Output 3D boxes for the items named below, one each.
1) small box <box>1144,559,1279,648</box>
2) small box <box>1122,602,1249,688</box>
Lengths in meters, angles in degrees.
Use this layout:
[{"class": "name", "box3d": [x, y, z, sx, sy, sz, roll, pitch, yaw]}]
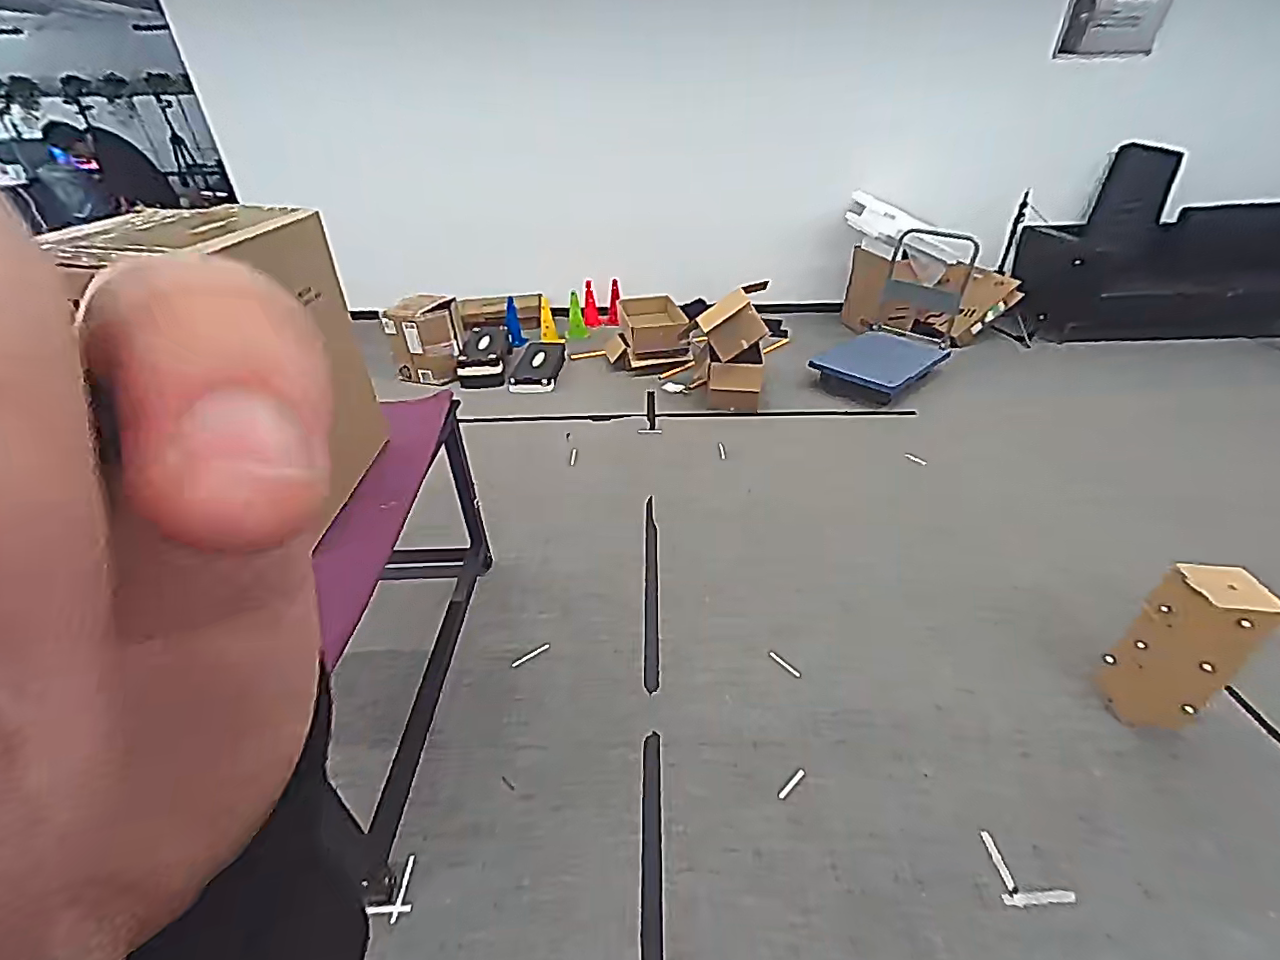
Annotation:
[{"class": "small box", "box3d": [1.542, 0.335, 1.462, 0.179, 0.176, 0.168, 3, 34, 6]}, {"class": "small box", "box3d": [1.542, 0.473, 1.549, 0.179, 0.176, 0.168, 3, 35, 6]}]
